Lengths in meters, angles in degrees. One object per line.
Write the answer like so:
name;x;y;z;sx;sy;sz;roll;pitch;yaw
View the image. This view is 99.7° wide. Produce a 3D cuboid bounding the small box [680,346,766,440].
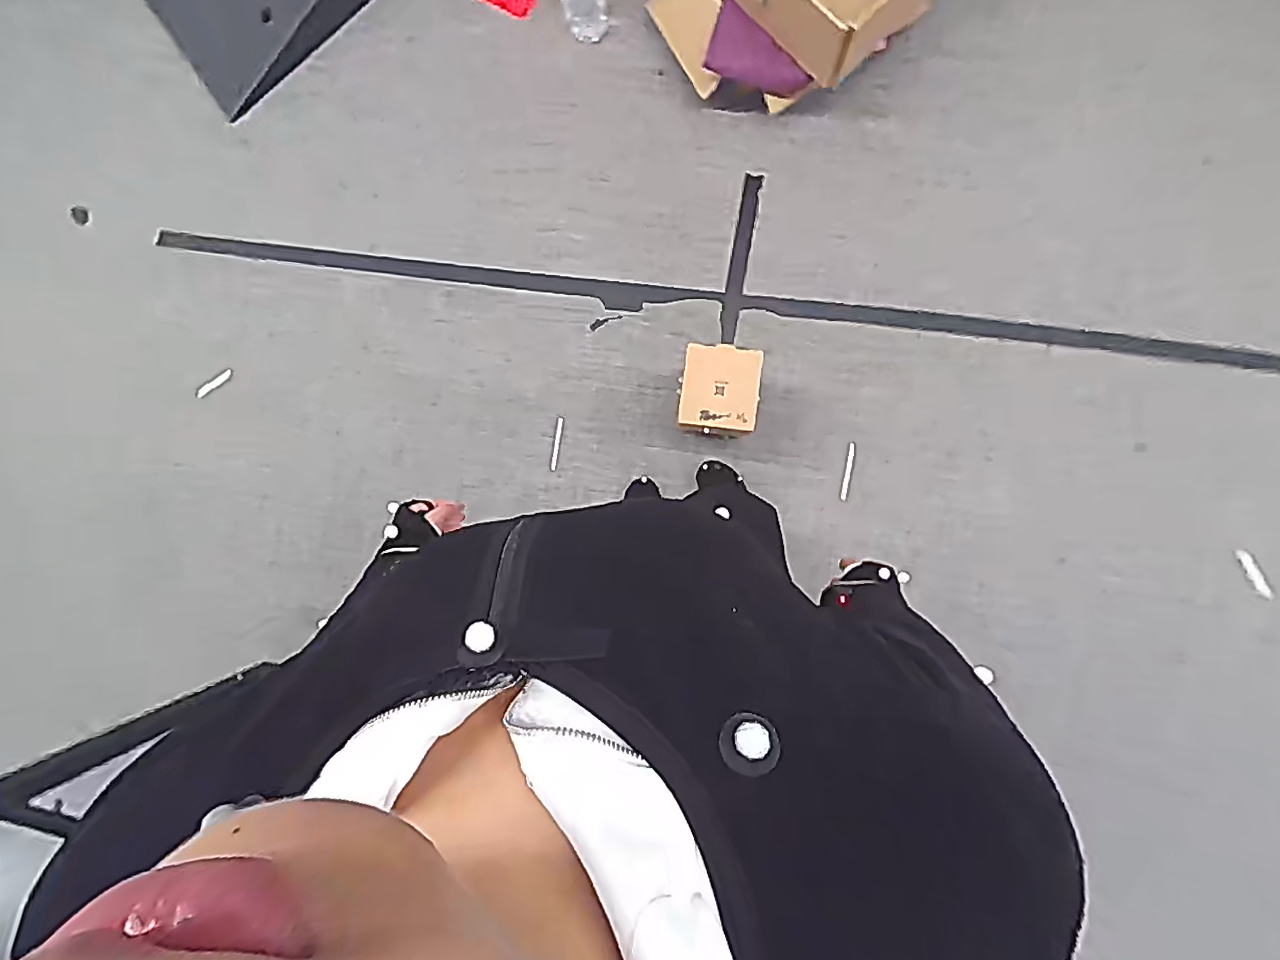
small box;0.184;-0.193;1.238;0.168;0.176;0.179;7;90;6
